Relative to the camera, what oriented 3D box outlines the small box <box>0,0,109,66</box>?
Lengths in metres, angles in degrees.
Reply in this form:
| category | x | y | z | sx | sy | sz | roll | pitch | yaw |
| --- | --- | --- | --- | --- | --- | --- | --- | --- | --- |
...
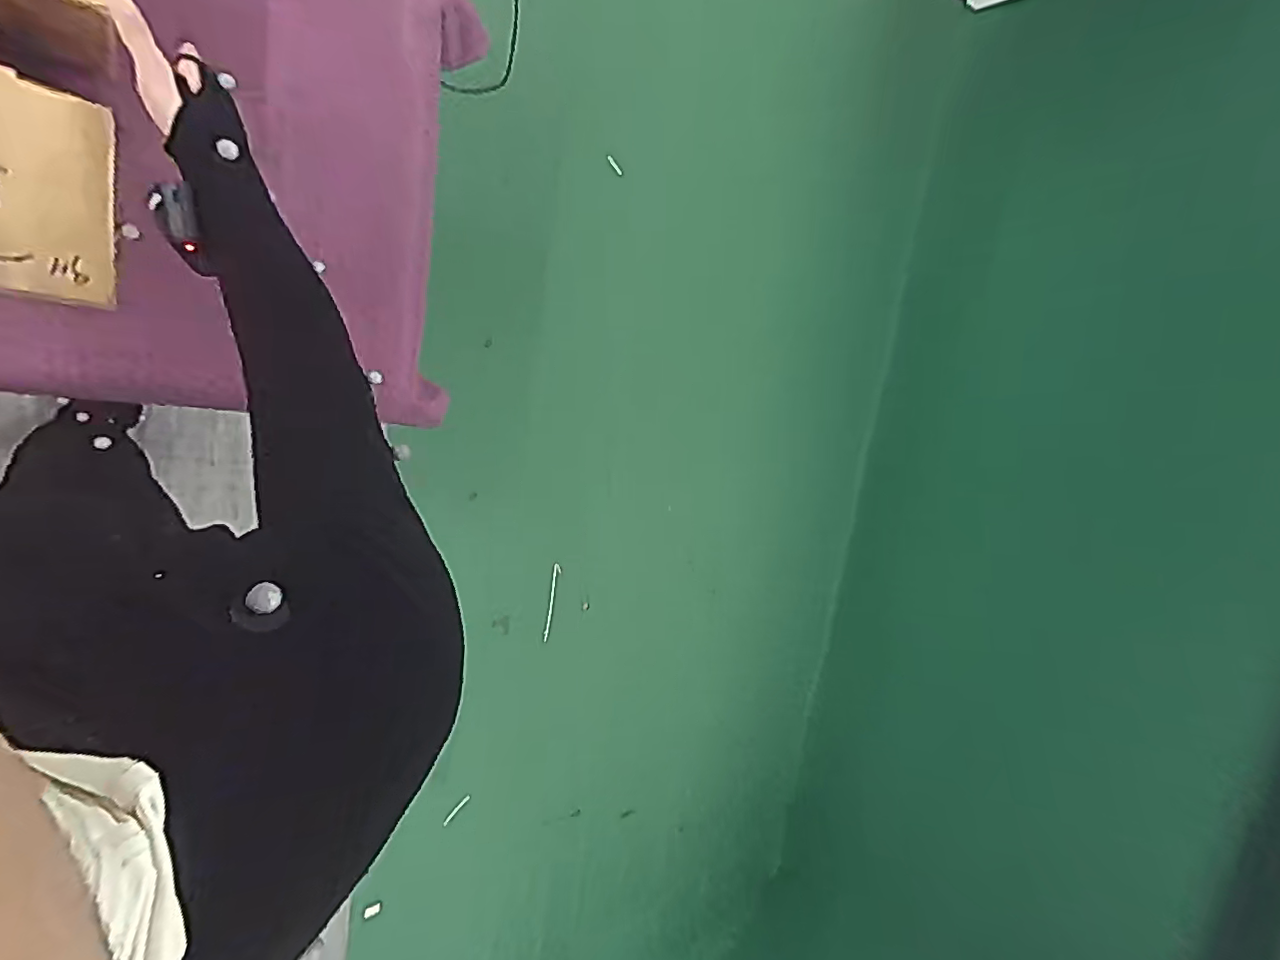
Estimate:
| category | x | y | z | sx | sy | sz | roll | pitch | yaw |
| --- | --- | --- | --- | --- | --- | --- | --- | --- | --- |
| small box | -0.572 | -0.509 | 0.461 | 0.168 | 0.176 | 0.179 | 0 | 103 | -43 |
